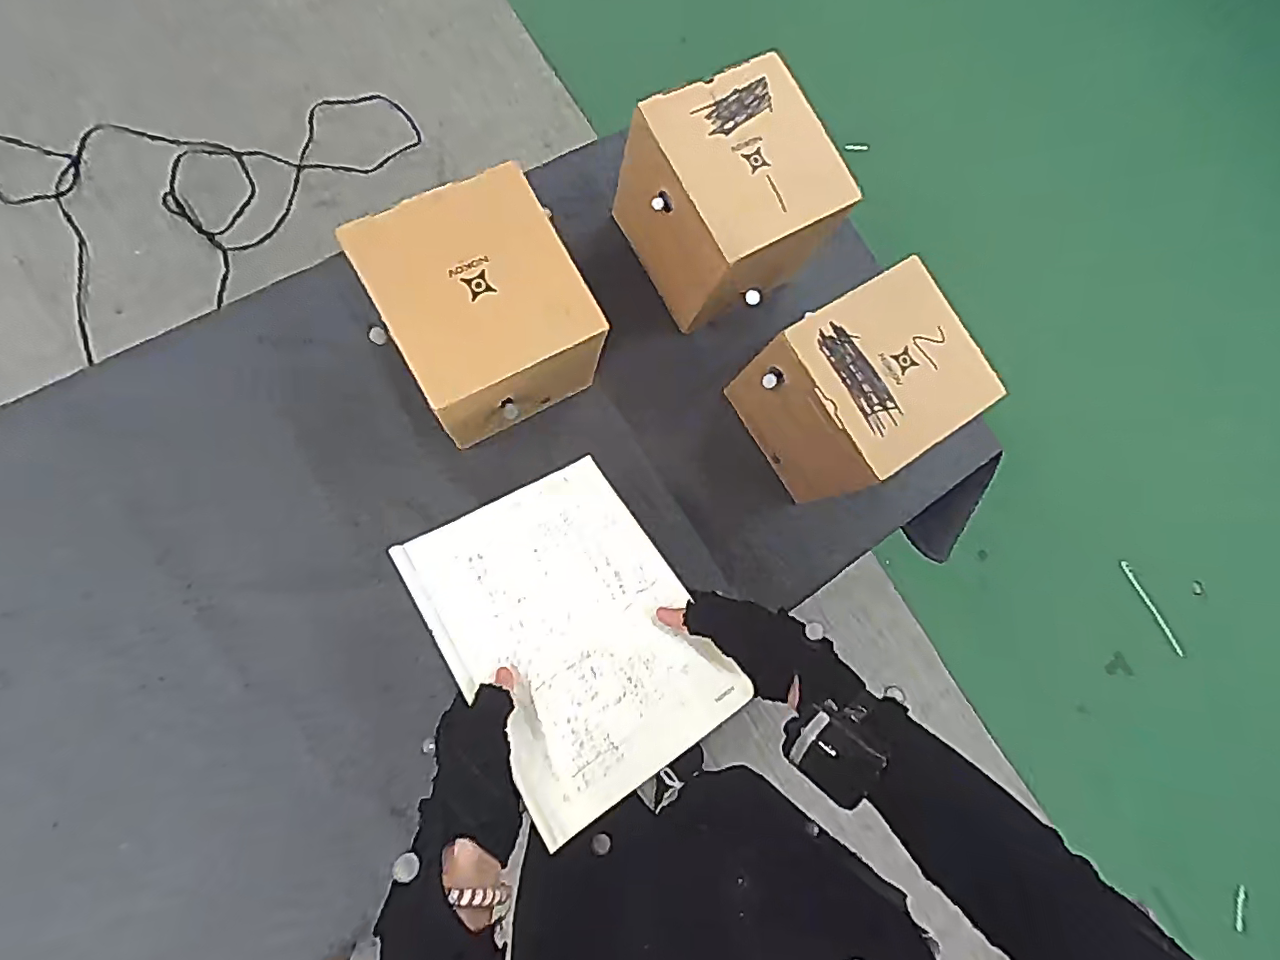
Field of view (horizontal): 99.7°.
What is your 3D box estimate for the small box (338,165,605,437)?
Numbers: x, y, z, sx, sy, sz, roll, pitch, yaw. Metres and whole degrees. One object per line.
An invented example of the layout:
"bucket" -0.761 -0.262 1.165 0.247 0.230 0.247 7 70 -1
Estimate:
"small box" -0.151 -0.156 0.536 0.168 0.176 0.179 -29 87 -13
